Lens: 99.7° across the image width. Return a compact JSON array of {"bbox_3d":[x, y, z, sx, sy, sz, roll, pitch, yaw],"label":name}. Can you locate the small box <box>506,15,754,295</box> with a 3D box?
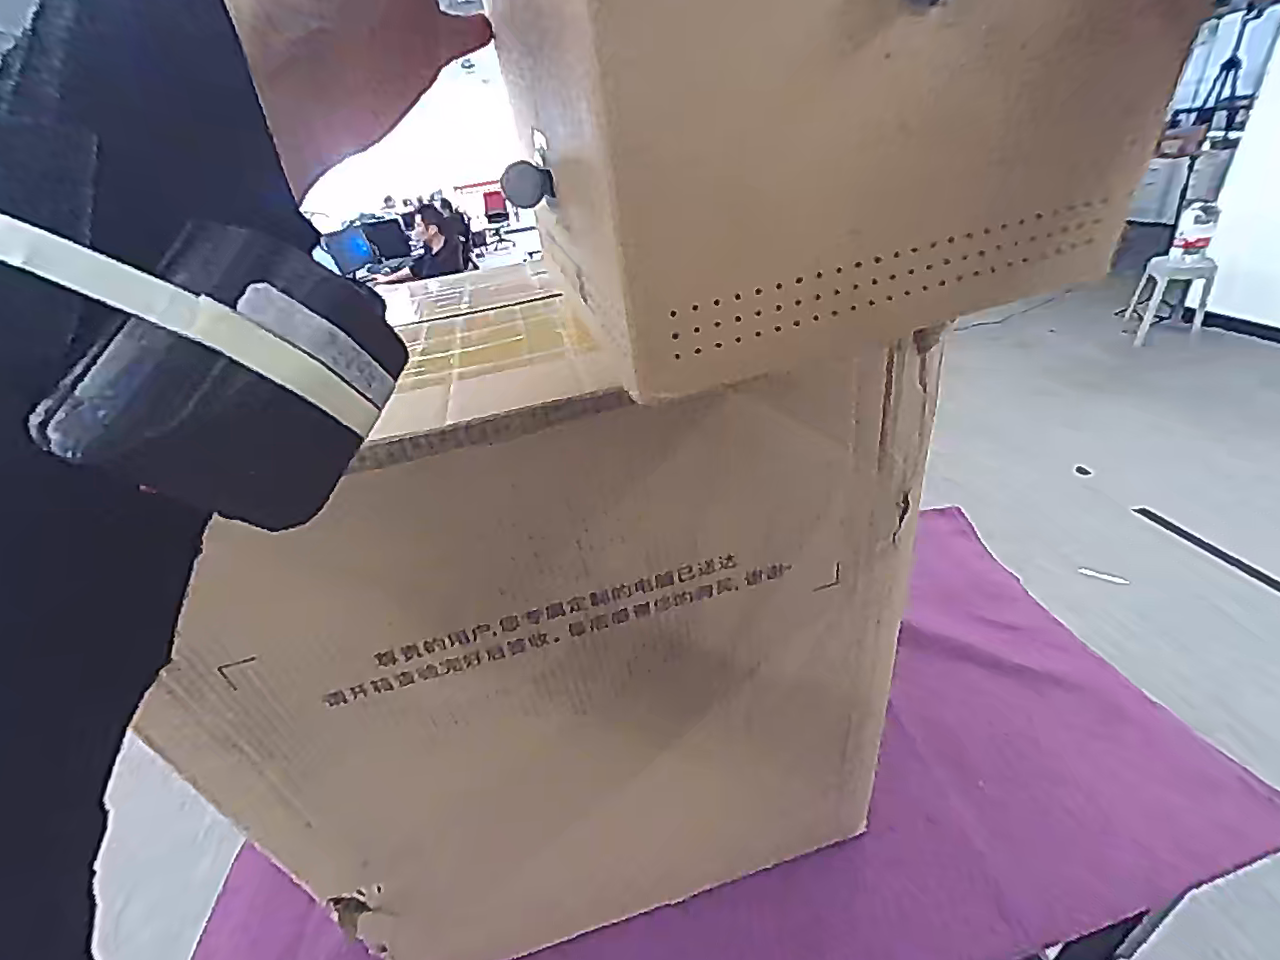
[{"bbox_3d":[-0.010,-0.275,0.482,0.179,0.176,0.168,-14,32,-7],"label":"small box"}]
